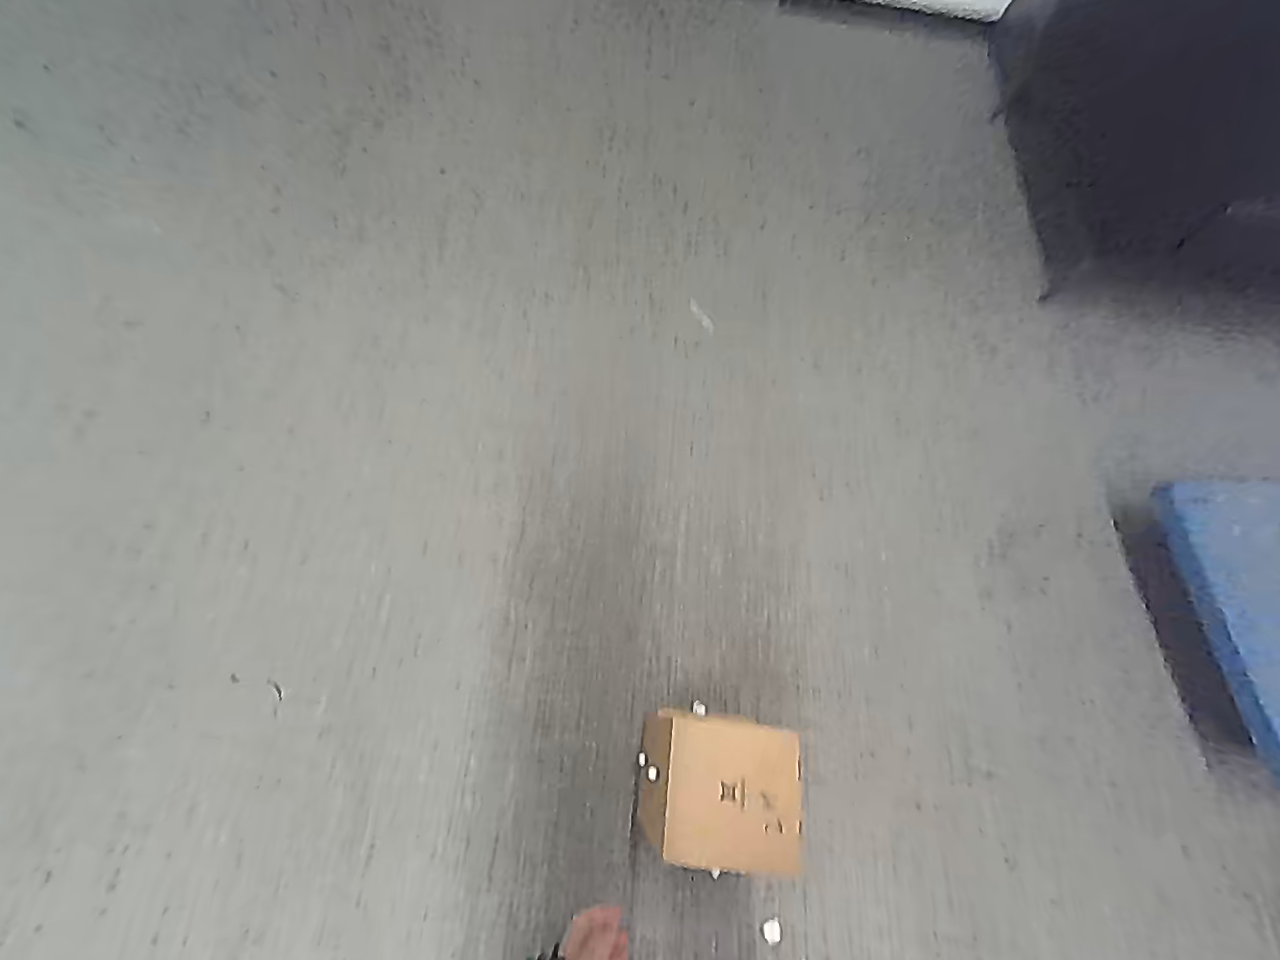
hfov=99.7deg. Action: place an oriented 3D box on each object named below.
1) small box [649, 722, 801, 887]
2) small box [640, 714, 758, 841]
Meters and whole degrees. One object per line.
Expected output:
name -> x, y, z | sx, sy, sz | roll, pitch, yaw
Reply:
small box -> 0.112, 0.438, 0.756 | 0.179, 0.176, 0.168 | 8, 67, -3
small box -> 0.093, 0.497, 0.909 | 0.168, 0.176, 0.179 | 8, 65, -3
